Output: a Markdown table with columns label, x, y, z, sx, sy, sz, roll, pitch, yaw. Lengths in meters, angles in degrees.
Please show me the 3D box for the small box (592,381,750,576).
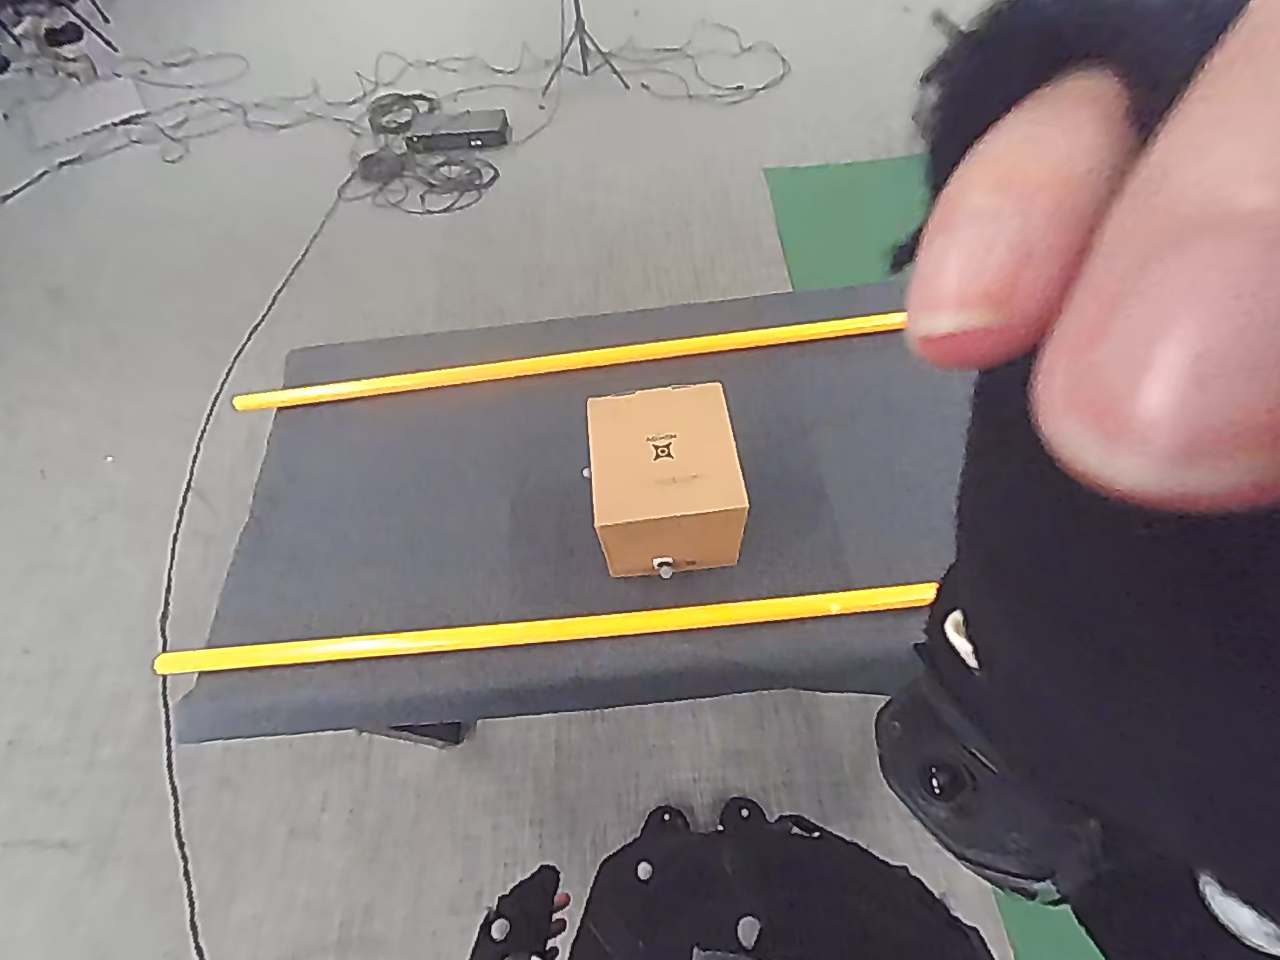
| label | x | y | z | sx | sy | sz | roll | pitch | yaw |
| --- | --- | --- | --- | --- | --- | --- | --- | --- | --- |
| small box | 0.035 | 0.003 | 0.685 | 0.168 | 0.176 | 0.179 | -8 | 60 | 1 |
